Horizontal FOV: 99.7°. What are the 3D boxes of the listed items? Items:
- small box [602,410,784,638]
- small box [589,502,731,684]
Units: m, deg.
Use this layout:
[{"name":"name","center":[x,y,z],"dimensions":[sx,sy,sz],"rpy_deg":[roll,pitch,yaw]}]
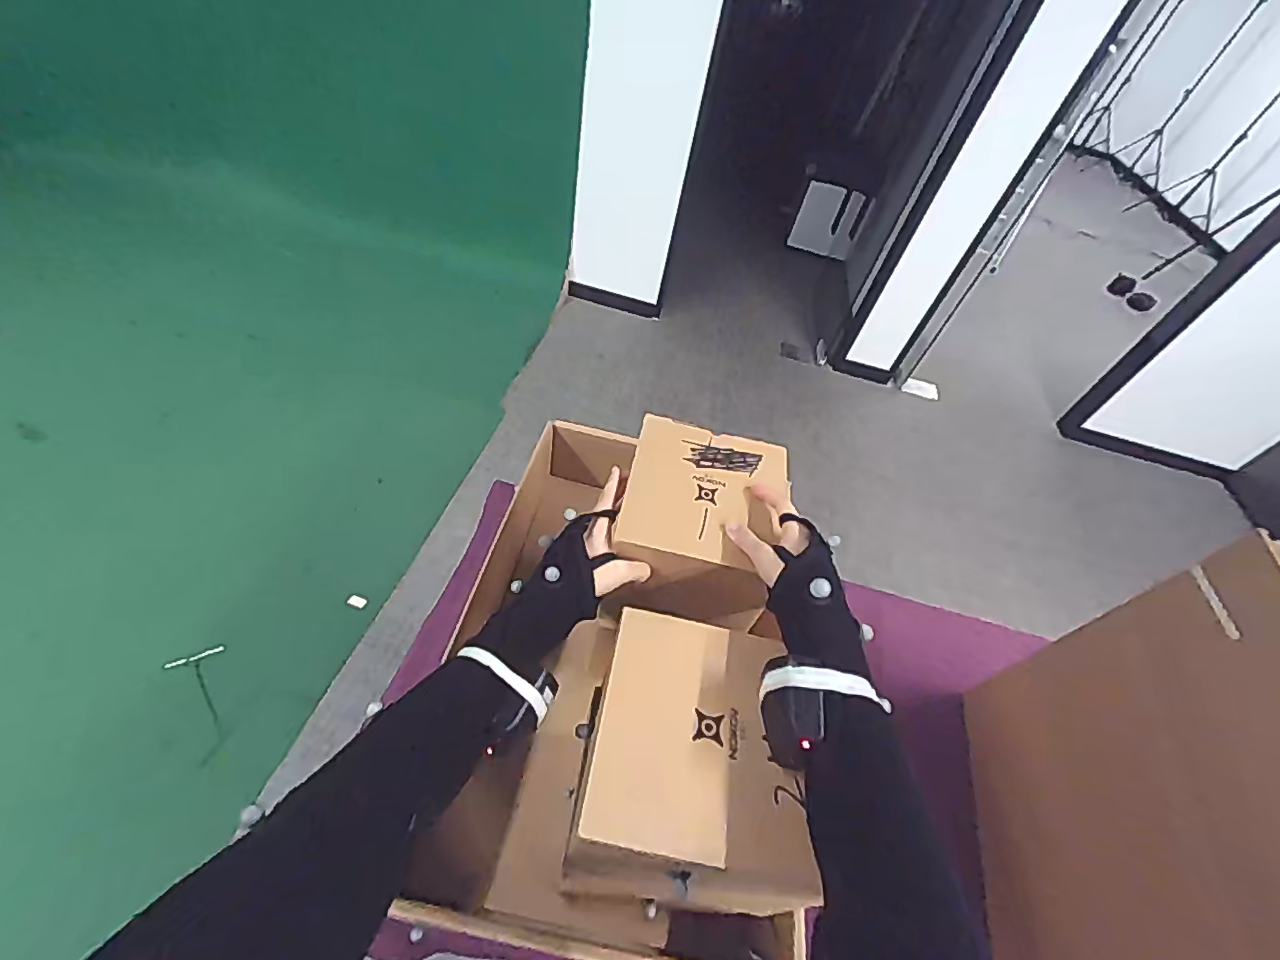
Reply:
[{"name":"small box","center":[0.056,0.054,0.615],"dimensions":[0.168,0.176,0.179],"rpy_deg":[12,52,0]},{"name":"small box","center":[0.027,0.158,0.737],"dimensions":[0.168,0.176,0.179],"rpy_deg":[11,50,-2]}]
